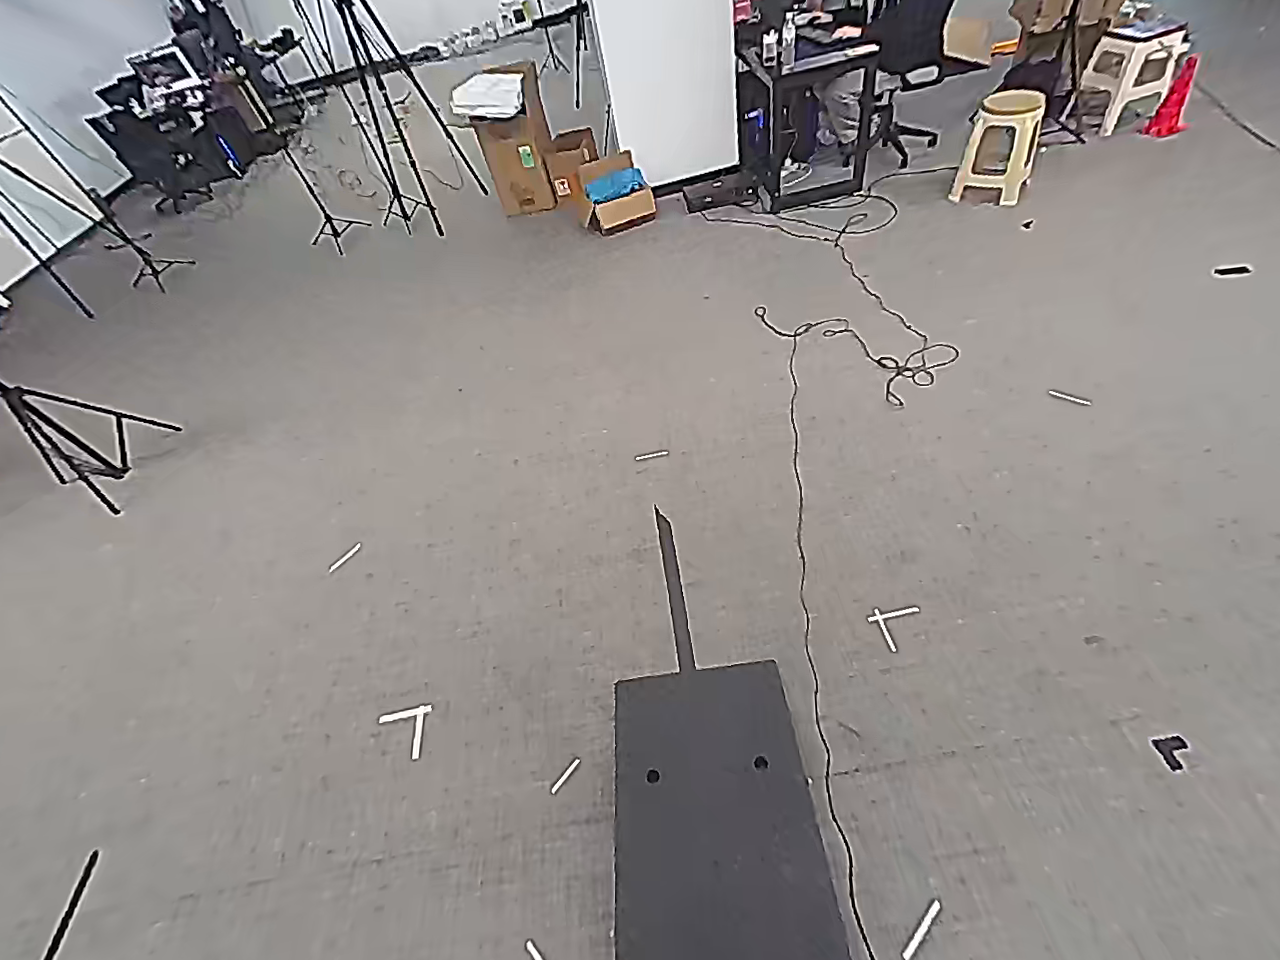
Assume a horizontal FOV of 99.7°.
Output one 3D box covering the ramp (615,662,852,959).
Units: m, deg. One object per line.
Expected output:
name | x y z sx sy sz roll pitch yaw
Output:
ramp | 0.180 0.893 1.243 0.509 0.206 0.991 -12 47 5
